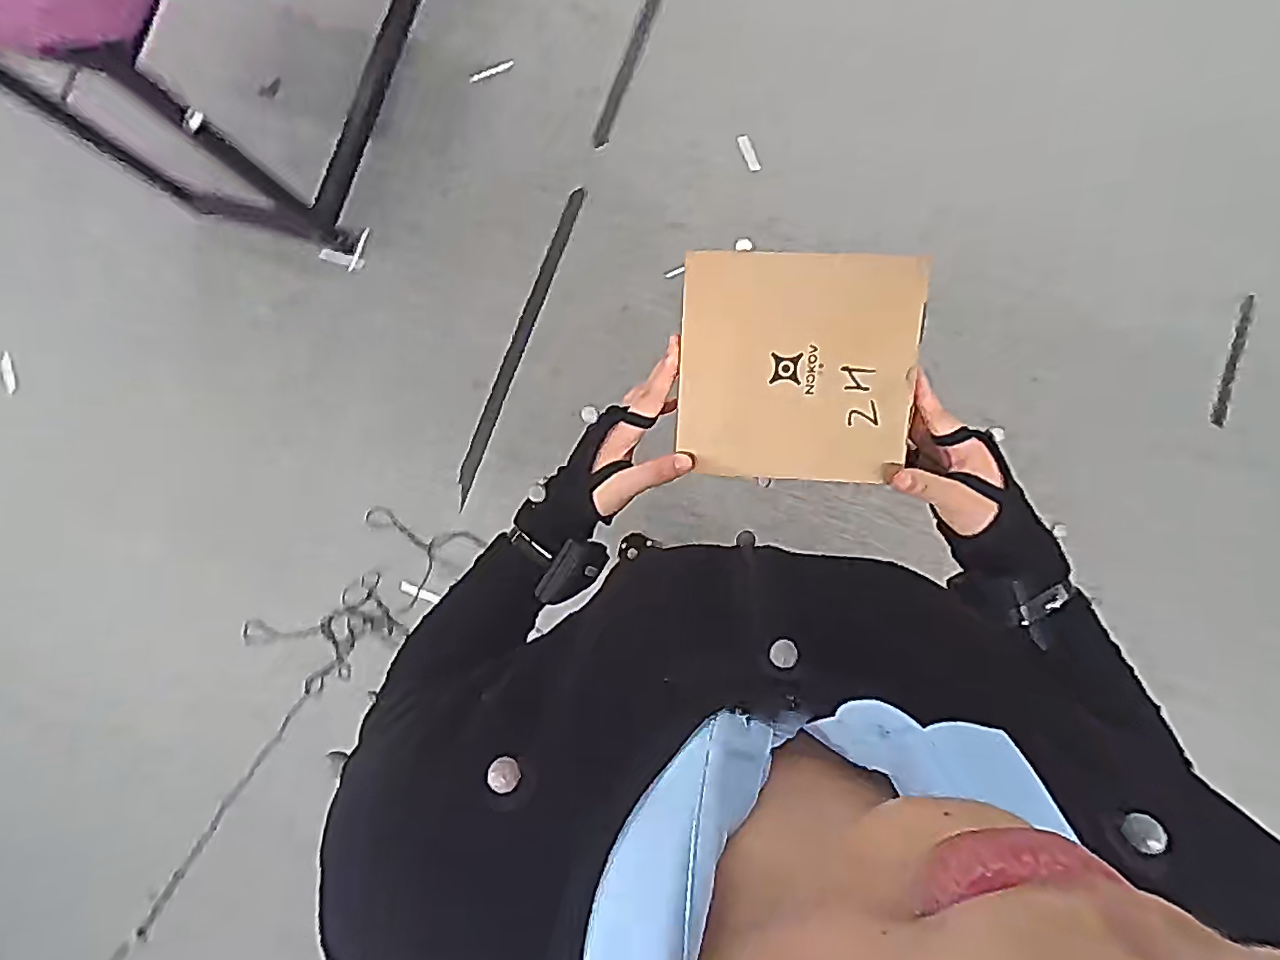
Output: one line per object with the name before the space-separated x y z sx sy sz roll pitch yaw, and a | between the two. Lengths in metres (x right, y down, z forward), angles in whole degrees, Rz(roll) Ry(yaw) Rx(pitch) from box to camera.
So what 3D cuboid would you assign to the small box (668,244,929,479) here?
small box | 0.118 -0.101 0.474 0.179 0.176 0.168 2 103 4
